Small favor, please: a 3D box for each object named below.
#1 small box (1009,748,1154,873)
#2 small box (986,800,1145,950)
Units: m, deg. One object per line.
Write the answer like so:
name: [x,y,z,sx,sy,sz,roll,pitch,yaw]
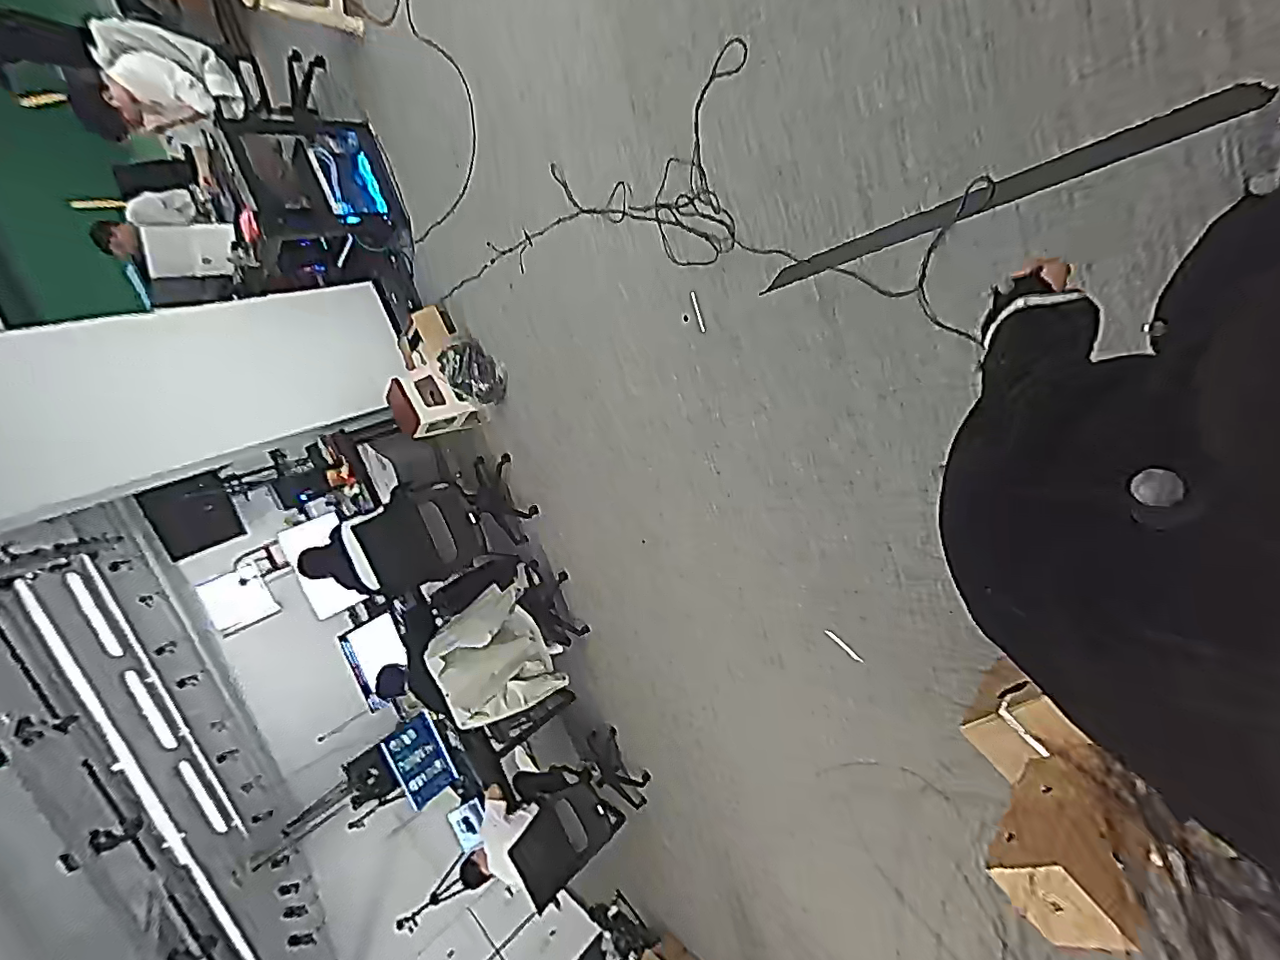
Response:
small box: [0.956,0.716,1.170,0.168,0.176,0.179,47,141,19]
small box: [0.841,0.772,1.069,0.168,0.176,0.179,48,140,17]
